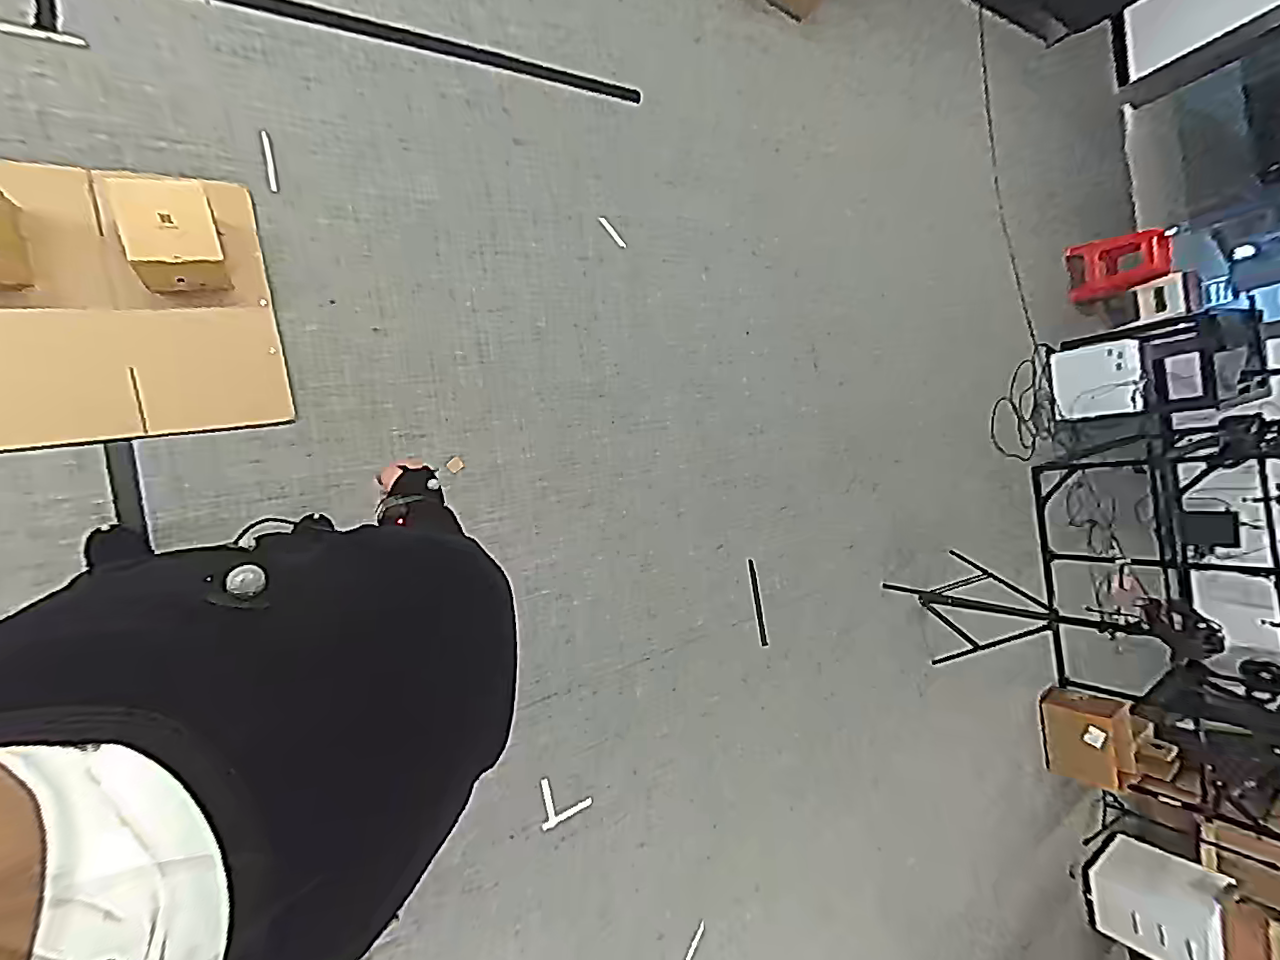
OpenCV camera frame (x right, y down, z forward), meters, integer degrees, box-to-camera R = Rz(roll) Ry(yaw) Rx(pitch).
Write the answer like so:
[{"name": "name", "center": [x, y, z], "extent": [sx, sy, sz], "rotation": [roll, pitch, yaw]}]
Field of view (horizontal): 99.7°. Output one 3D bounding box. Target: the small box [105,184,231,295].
[{"name": "small box", "center": [-1.054, -0.536, 1.223], "extent": [0.168, 0.176, 0.179], "rotation": [-17, 95, -31]}]

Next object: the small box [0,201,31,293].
[{"name": "small box", "center": [-1.340, -0.477, 1.041], "extent": [0.168, 0.176, 0.179], "rotation": [-13, 94, -30]}]
